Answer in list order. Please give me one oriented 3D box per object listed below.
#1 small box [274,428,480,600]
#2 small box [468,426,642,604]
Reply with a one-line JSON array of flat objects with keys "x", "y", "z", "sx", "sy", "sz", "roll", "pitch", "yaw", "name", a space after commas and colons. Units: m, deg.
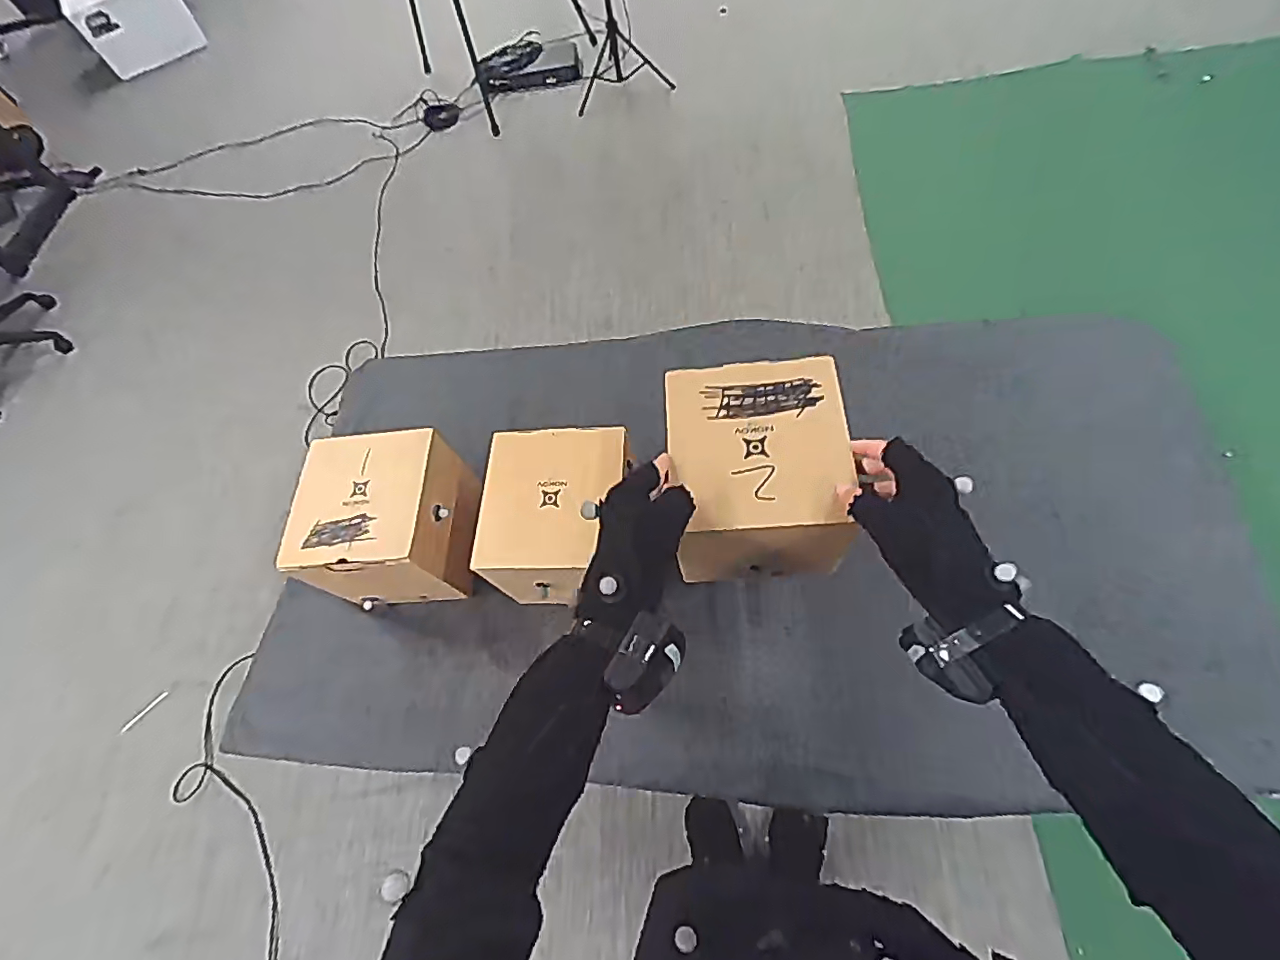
[{"x": -0.325, "y": 0.054, "z": 0.710, "sx": 0.168, "sy": 0.176, "sz": 0.179, "roll": -5, "pitch": 62, "yaw": 6, "name": "small box"}, {"x": -0.091, "y": 0.053, "z": 0.676, "sx": 0.168, "sy": 0.176, "sz": 0.179, "roll": -2, "pitch": 63, "yaw": 8, "name": "small box"}]
